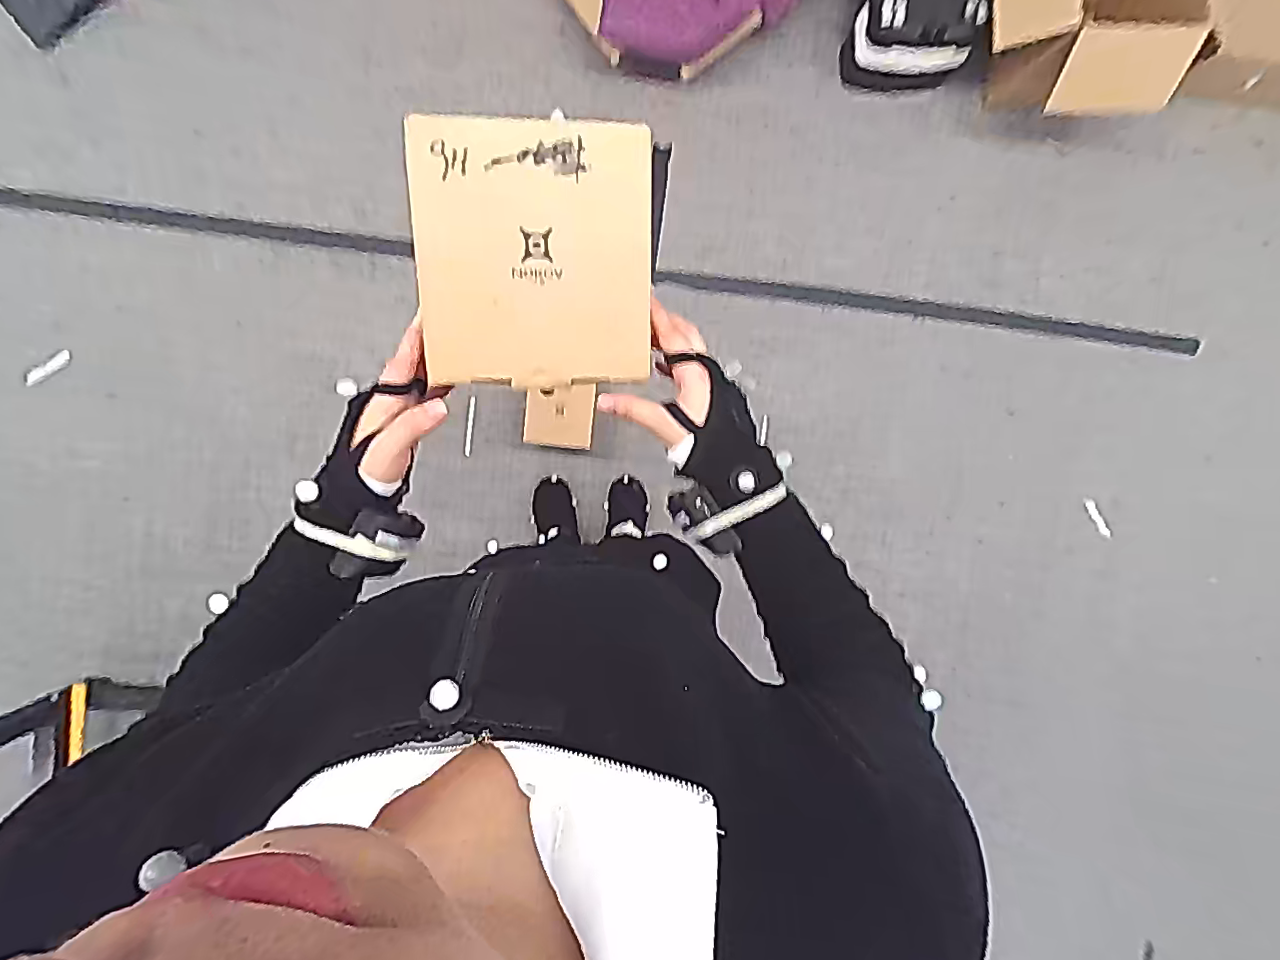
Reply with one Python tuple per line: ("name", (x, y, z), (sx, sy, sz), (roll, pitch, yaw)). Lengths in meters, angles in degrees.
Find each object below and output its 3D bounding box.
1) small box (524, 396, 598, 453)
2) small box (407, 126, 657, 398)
("small box", (-0.197, -0.165, 1.391), (0.168, 0.176, 0.179), (5, 95, -2))
("small box", (-0.077, -0.167, 0.453), (0.168, 0.176, 0.179), (-1, 105, -5))
